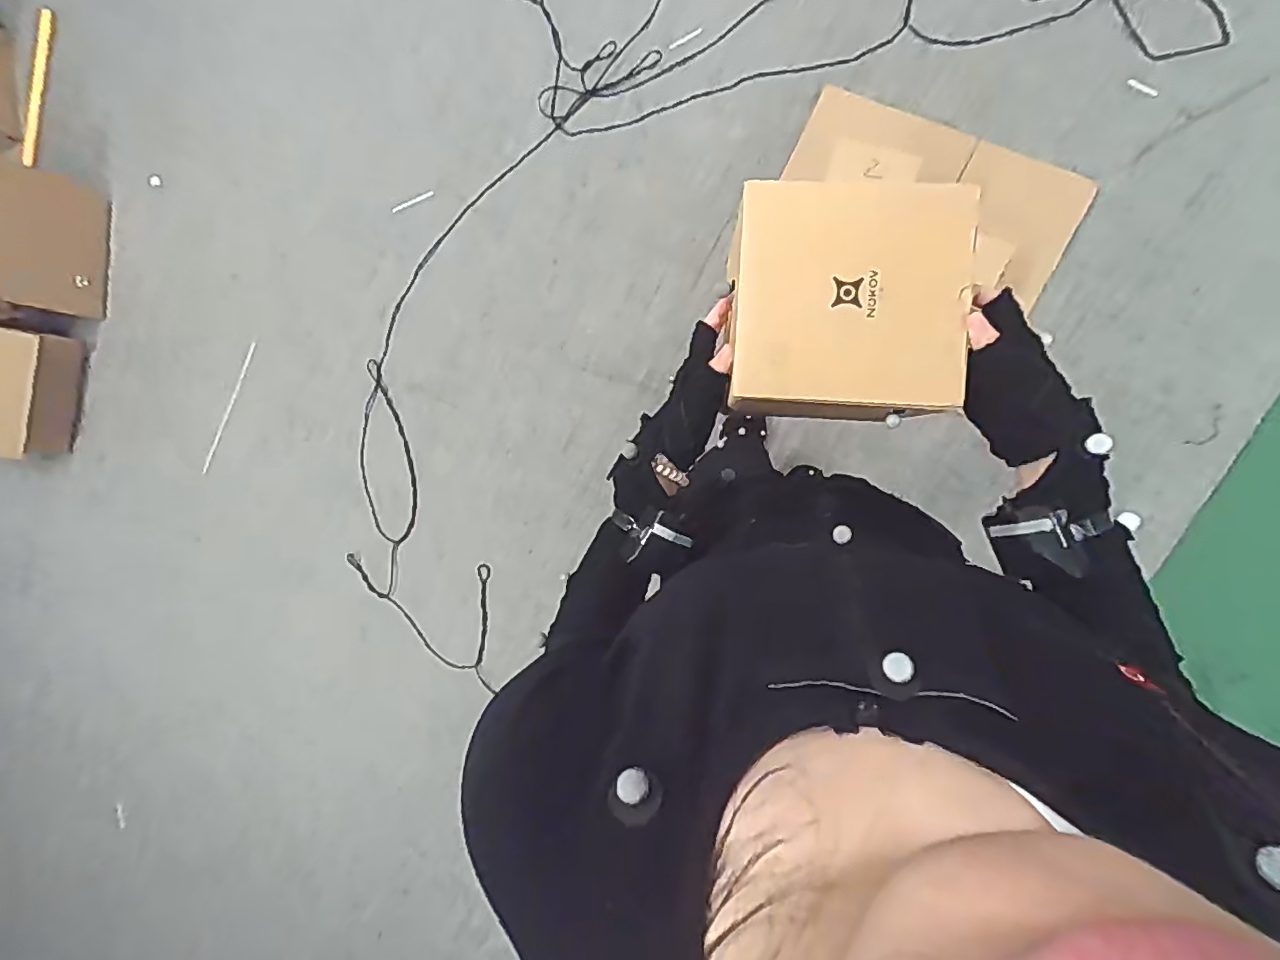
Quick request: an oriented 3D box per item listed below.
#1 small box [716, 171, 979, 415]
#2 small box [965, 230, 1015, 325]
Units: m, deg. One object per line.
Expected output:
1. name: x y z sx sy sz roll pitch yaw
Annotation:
1. small box: 0.162 -0.149 0.484 0.179 0.176 0.168 4 93 4
2. small box: 0.715 -0.467 1.262 0.168 0.176 0.179 27 98 10
